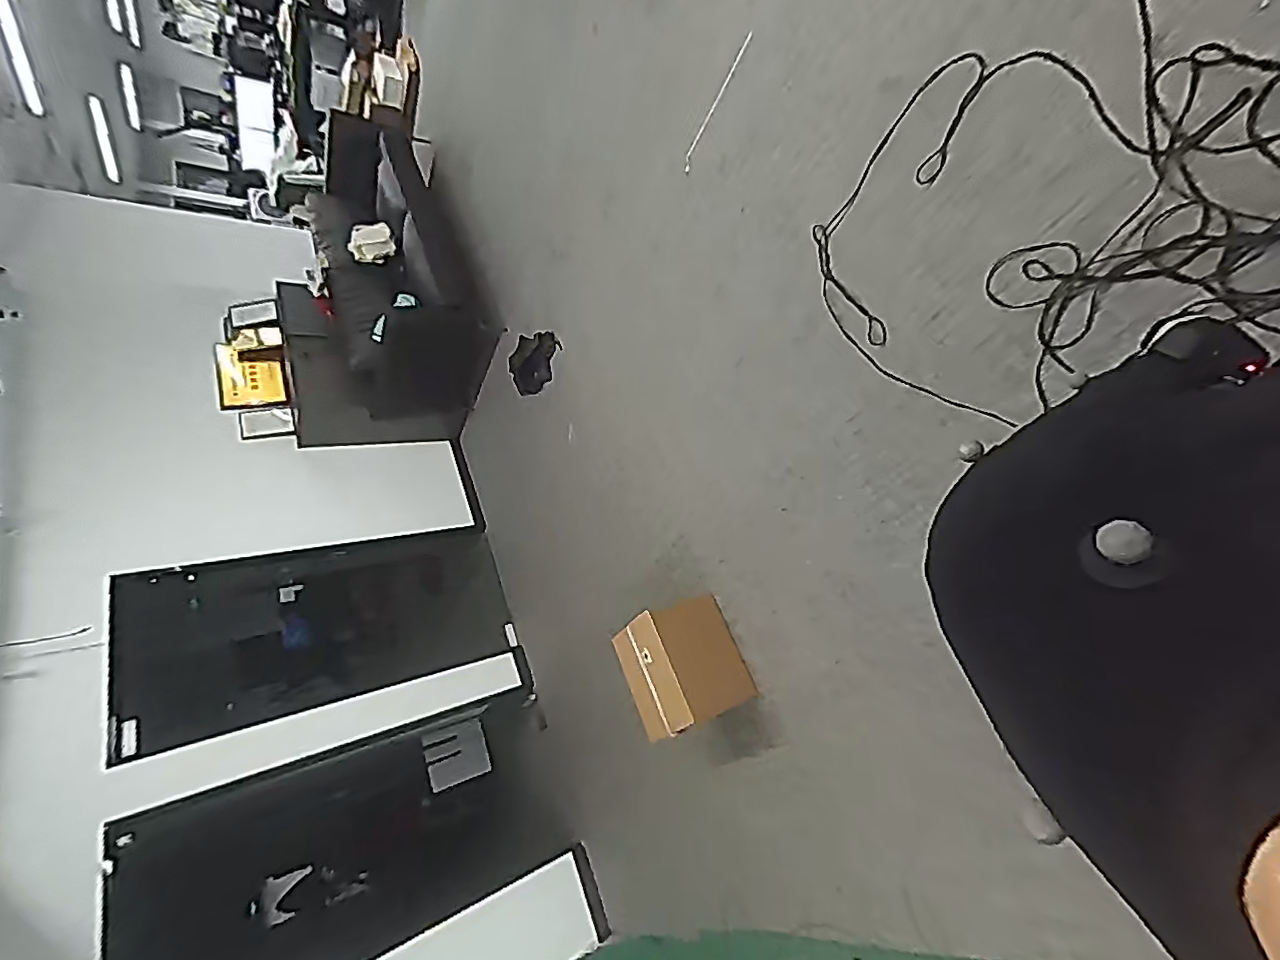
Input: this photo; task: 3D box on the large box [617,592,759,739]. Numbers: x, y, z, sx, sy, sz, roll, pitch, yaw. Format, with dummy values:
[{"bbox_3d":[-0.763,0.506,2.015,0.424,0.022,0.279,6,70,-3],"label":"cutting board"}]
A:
[{"bbox_3d":[0.171,0.685,2.022,0.320,0.320,0.408,-50,54,44],"label":"large box"}]
